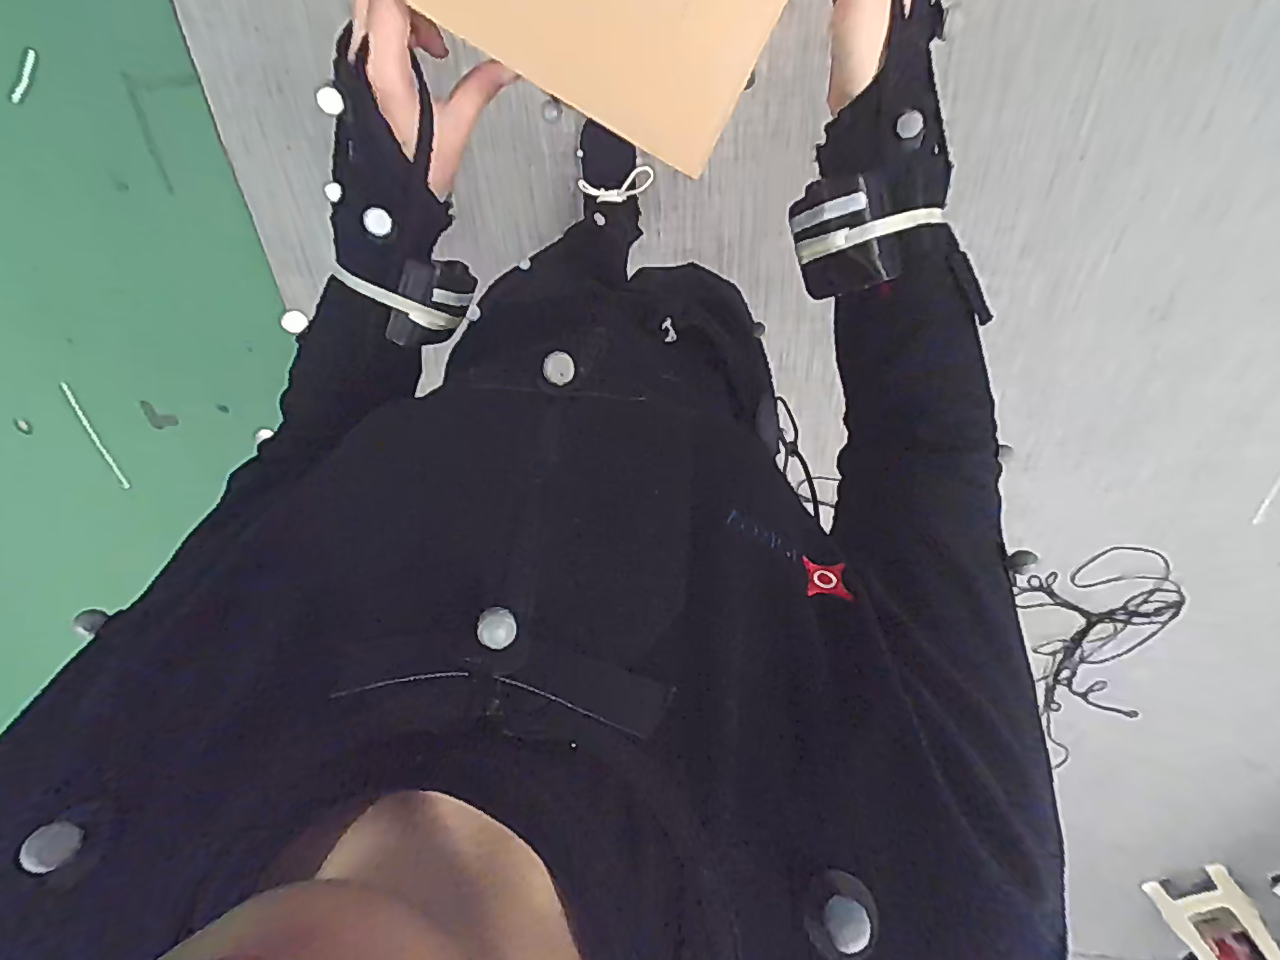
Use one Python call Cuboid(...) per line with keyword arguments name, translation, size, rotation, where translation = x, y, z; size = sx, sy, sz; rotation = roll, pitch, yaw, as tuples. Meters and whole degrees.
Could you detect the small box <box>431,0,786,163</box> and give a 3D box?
Cuboid(name="small box", translation=(-0.006, -0.312, 0.311), size=(0.179, 0.176, 0.168), rotation=(23, 121, -16))
